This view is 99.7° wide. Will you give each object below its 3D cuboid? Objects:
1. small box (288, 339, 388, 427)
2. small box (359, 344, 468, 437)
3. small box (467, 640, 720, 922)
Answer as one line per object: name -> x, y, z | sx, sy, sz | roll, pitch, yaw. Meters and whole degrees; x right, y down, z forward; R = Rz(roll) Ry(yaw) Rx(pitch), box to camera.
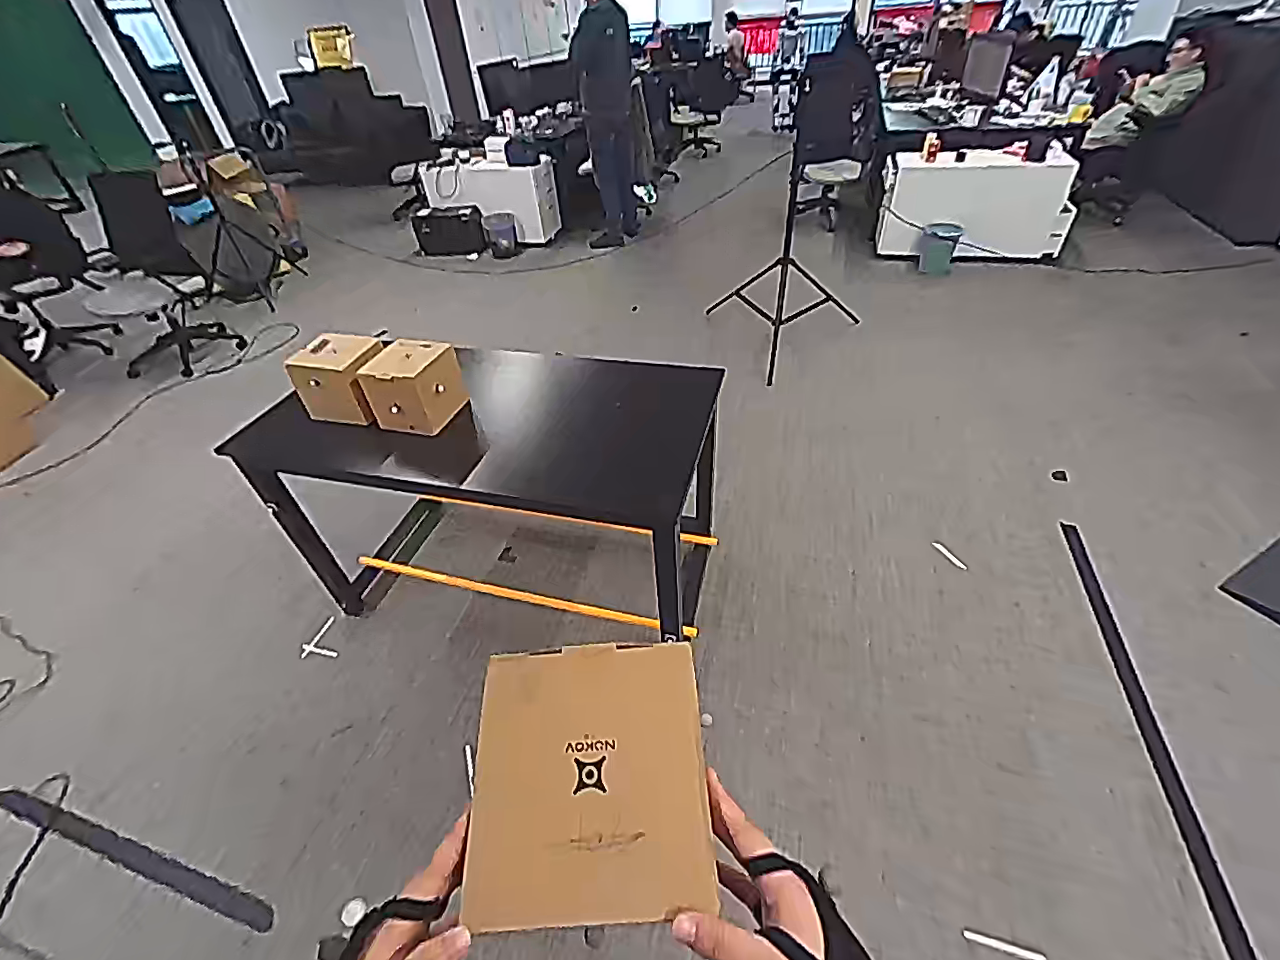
small box -> -0.776, -0.258, 1.442 | 0.179, 0.176, 0.168 | 7, 43, 12
small box -> -0.569, -0.229, 1.390 | 0.168, 0.176, 0.179 | 8, 43, 15
small box -> -0.030, 0.254, 0.456 | 0.168, 0.176, 0.179 | -5, 54, 1
